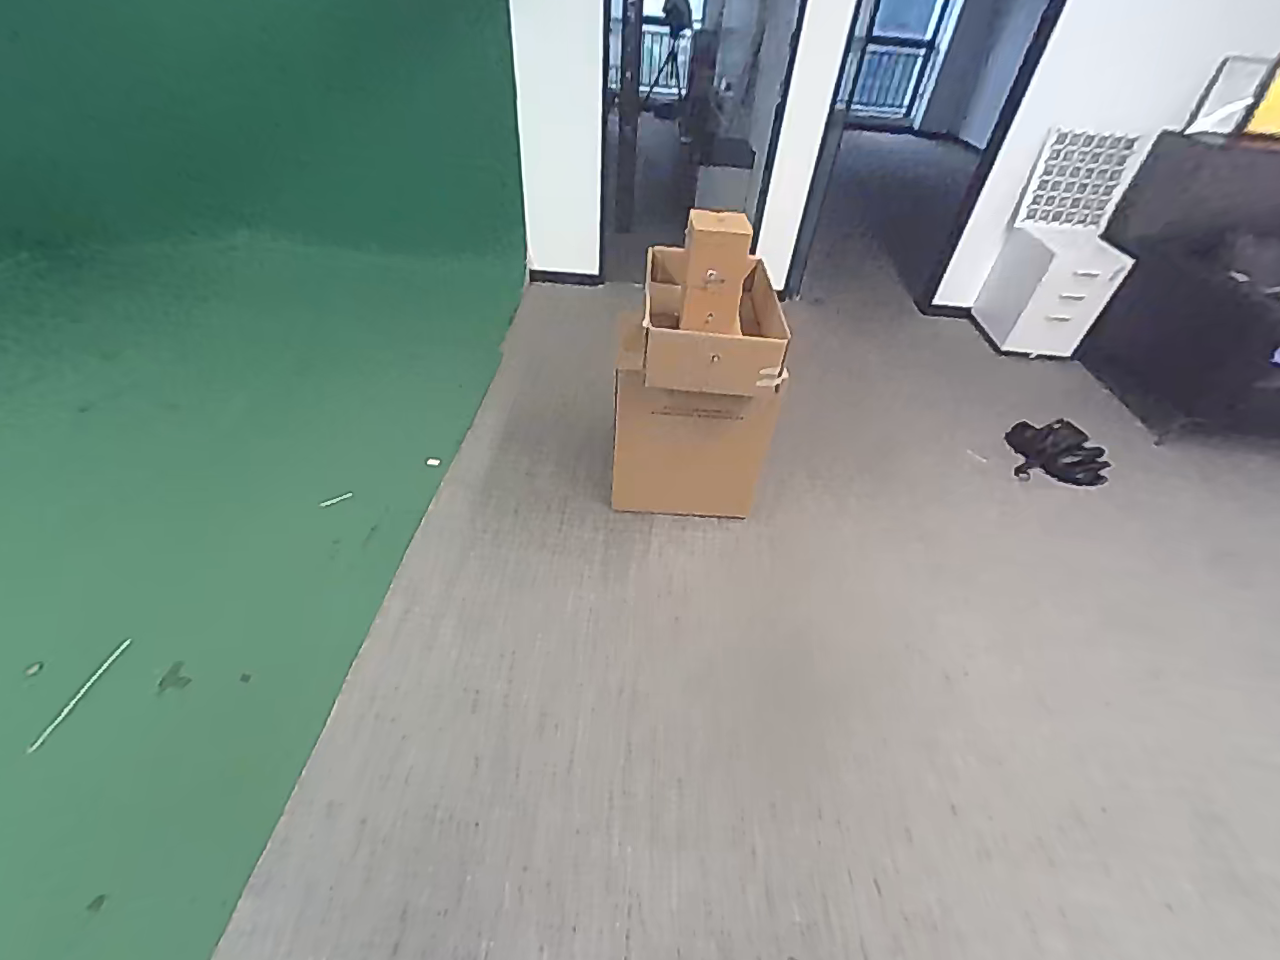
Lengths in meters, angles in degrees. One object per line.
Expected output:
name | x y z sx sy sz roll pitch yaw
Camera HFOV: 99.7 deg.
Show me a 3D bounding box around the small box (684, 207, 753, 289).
small box | 0.224 -0.682 1.592 0.168 0.176 0.179 3 43 -3
